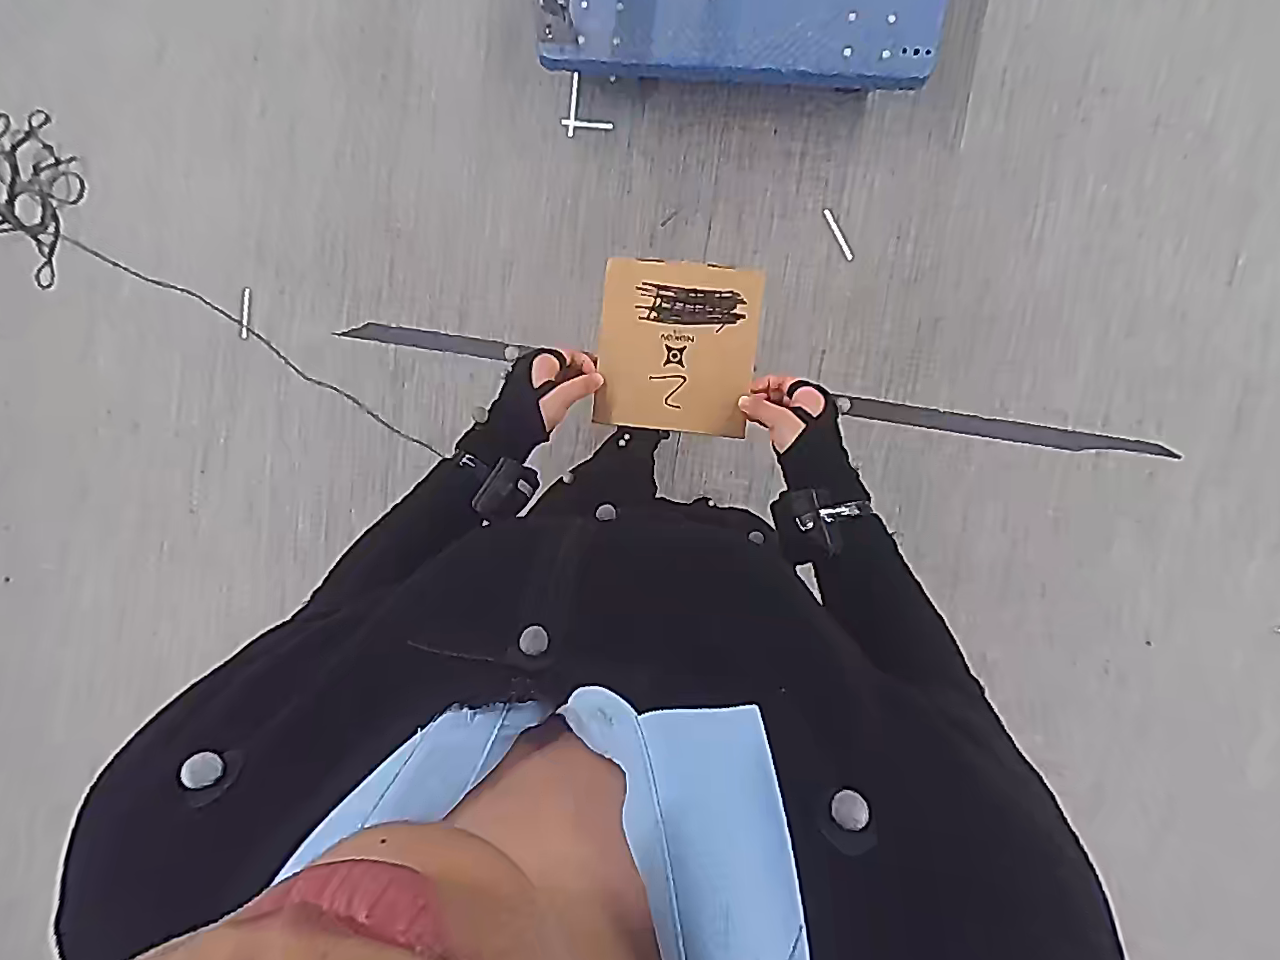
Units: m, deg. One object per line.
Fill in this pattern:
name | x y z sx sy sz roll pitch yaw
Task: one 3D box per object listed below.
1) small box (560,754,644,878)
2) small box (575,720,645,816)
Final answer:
small box | -0.086 0.813 1.321 0.168 0.176 0.179 9 97 4
small box | -0.077 0.788 1.482 0.168 0.176 0.179 -3 96 5
